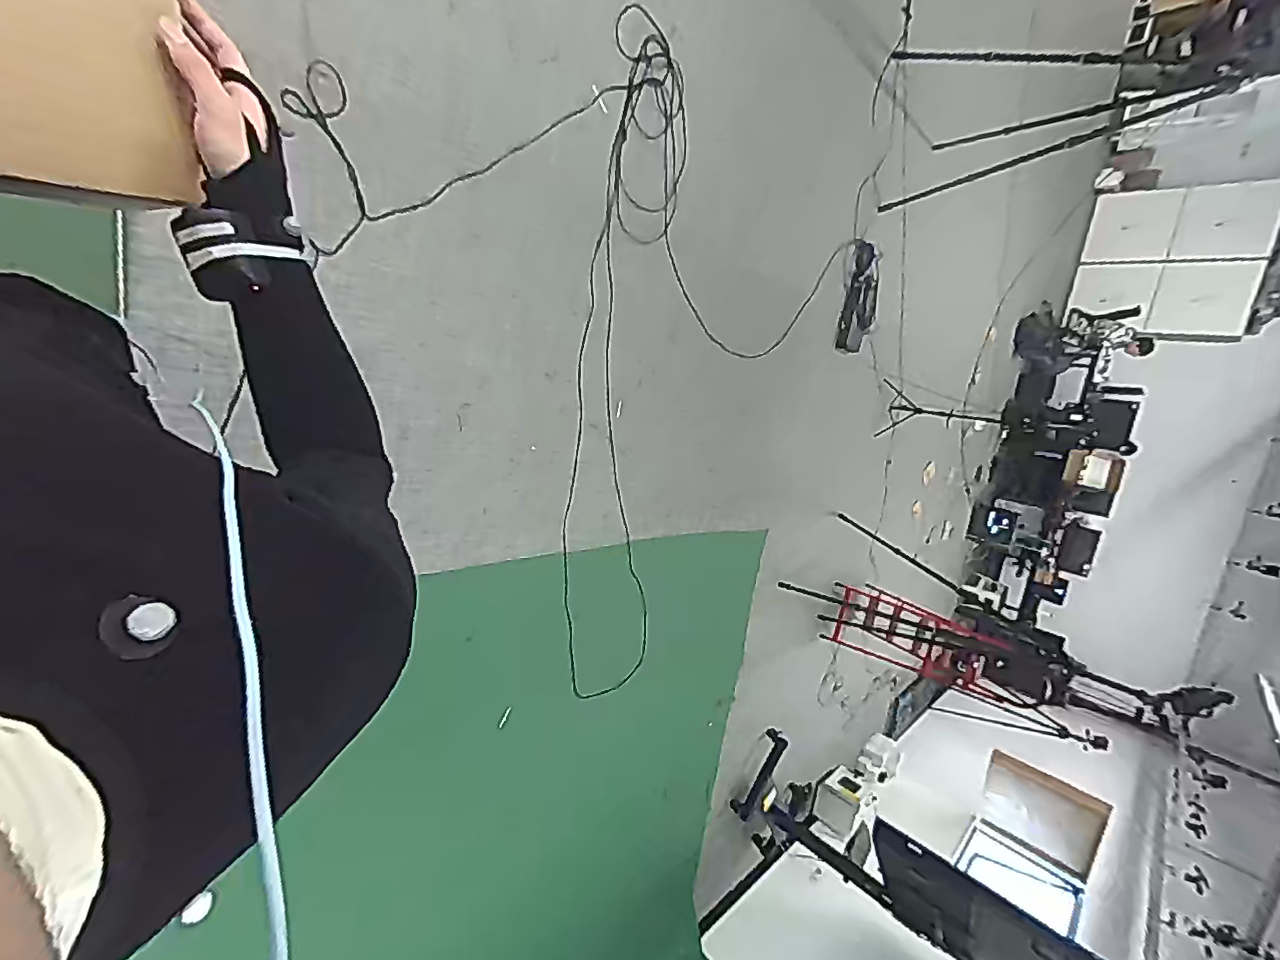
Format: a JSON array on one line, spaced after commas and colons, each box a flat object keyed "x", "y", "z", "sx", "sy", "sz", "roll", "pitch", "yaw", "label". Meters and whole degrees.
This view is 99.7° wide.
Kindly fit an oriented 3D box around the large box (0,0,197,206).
[{"x": -0.609, "y": -0.391, "z": 0.364, "sx": 0.408, "sy": 0.320, "sz": 0.320, "roll": -15, "pitch": 119, "yaw": -47, "label": "large box"}]
